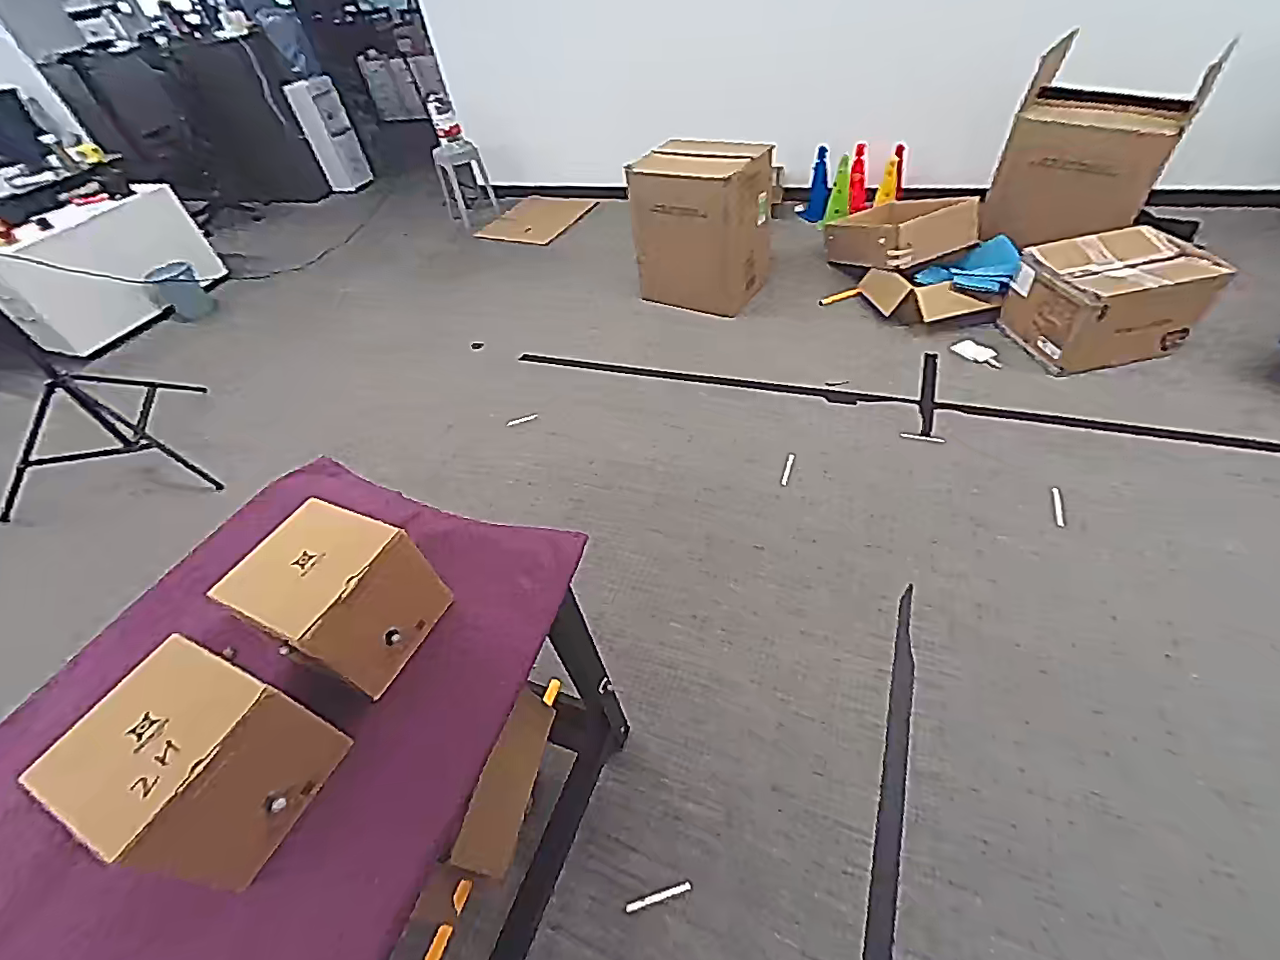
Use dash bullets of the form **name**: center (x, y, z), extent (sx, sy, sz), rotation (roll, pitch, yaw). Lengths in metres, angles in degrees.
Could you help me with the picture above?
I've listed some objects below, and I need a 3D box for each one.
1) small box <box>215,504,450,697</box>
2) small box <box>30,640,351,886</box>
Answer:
- **small box**: center (-0.394, 0.161, 0.722), extent (0.179, 0.176, 0.168), rotation (13, 51, 23)
- **small box**: center (-0.470, 0.310, 0.593), extent (0.179, 0.176, 0.168), rotation (13, 51, 23)
